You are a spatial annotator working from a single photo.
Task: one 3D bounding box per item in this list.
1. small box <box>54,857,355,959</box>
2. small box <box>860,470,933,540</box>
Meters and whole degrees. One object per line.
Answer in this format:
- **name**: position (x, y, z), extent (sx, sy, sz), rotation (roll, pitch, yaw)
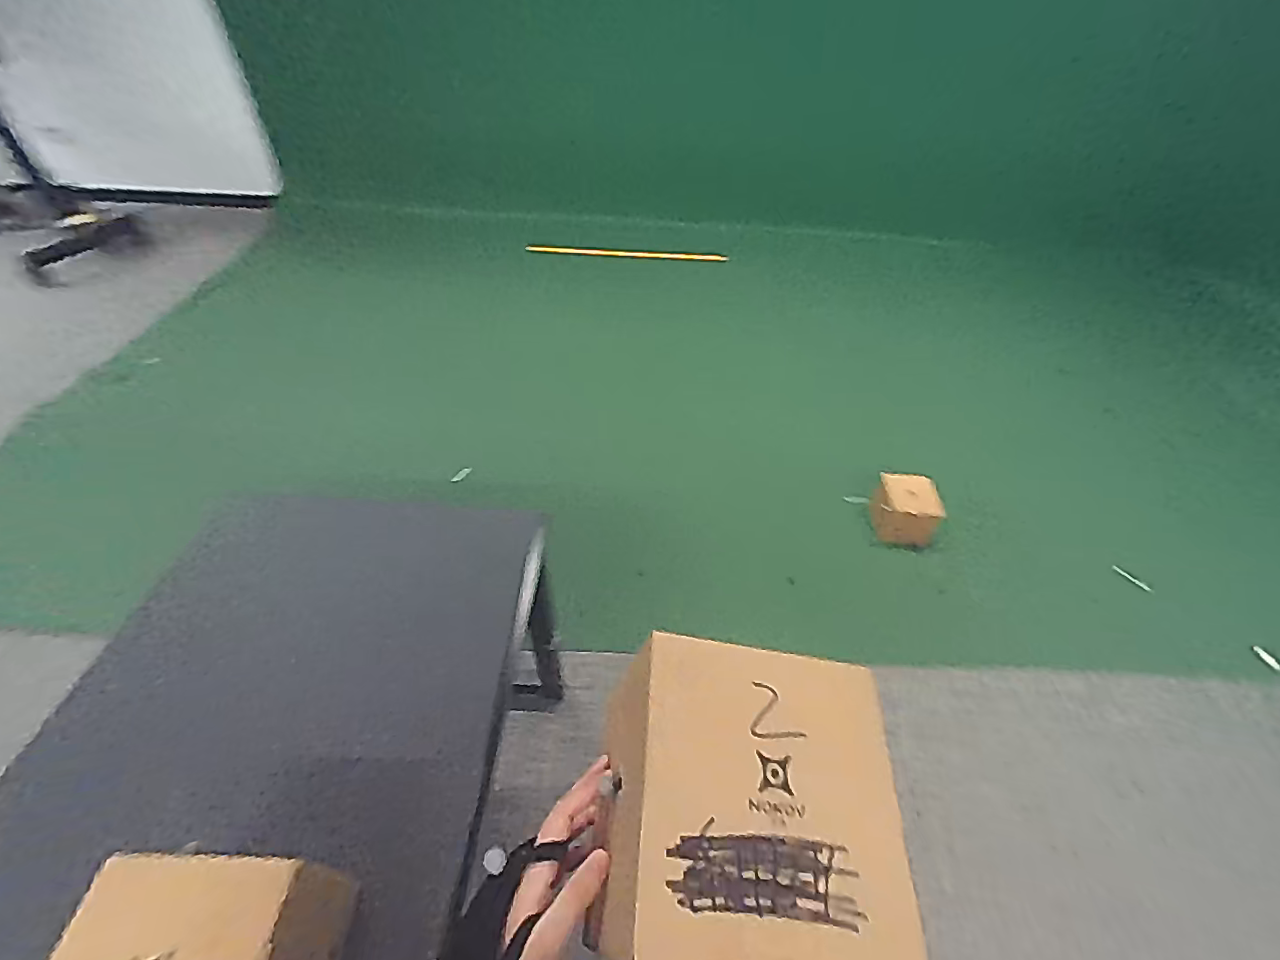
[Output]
- **small box**: position (-0.403, 0.462, 0.501), extent (0.179, 0.176, 0.168), rotation (1, 48, -1)
- **small box**: position (0.906, 0.089, 1.929), extent (0.168, 0.176, 0.179), rotation (5, 47, 0)
